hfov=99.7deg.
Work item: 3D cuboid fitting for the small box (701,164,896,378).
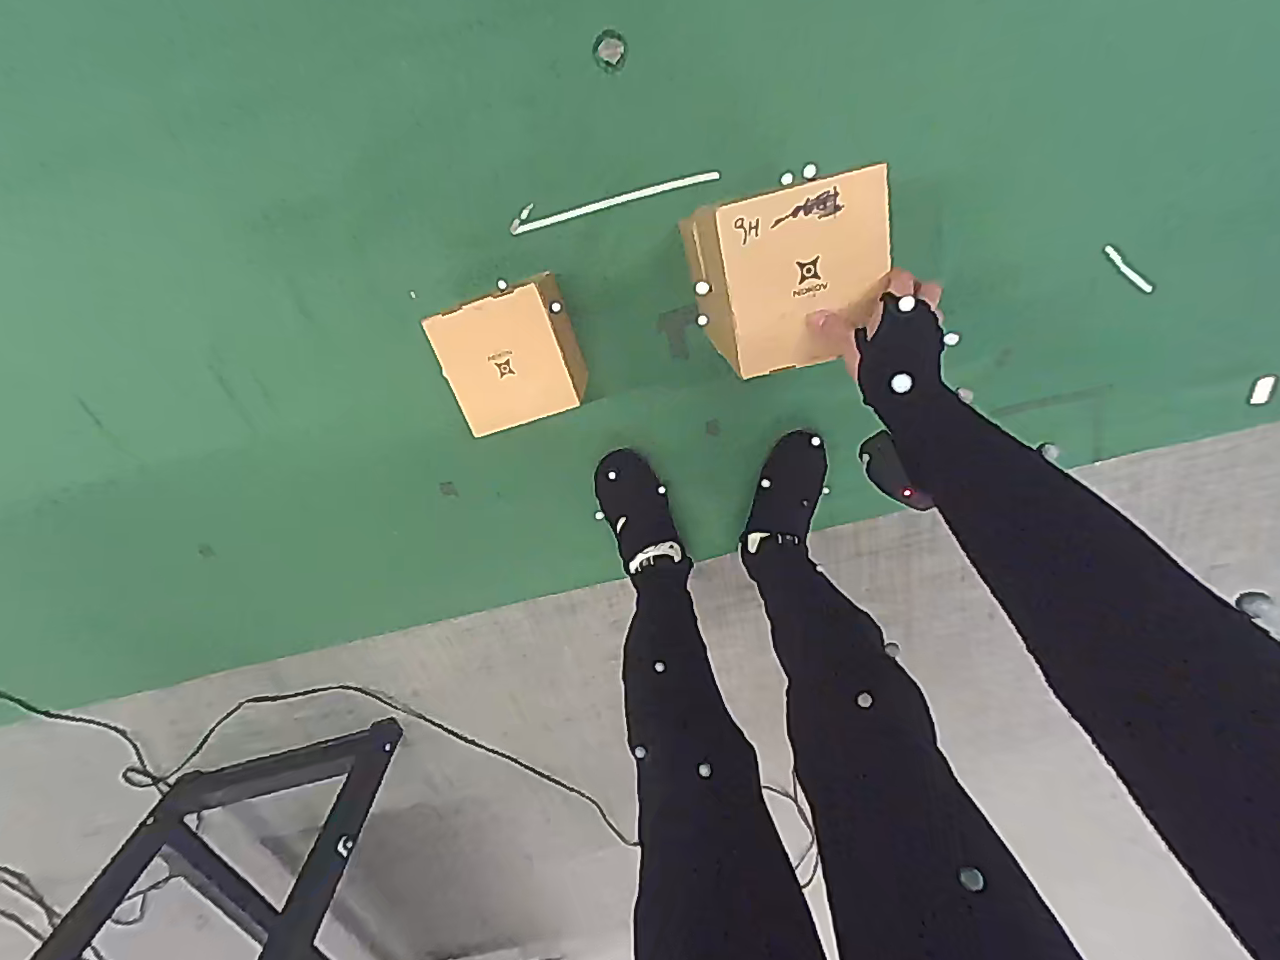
[{"bbox_3d":[0.171,-0.237,0.612,0.168,0.176,0.179,-13,116,4],"label":"small box"}]

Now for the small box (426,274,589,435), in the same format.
[{"bbox_3d":[-0.181,-0.193,0.808,0.168,0.176,0.179,-16,114,6],"label":"small box"}]
